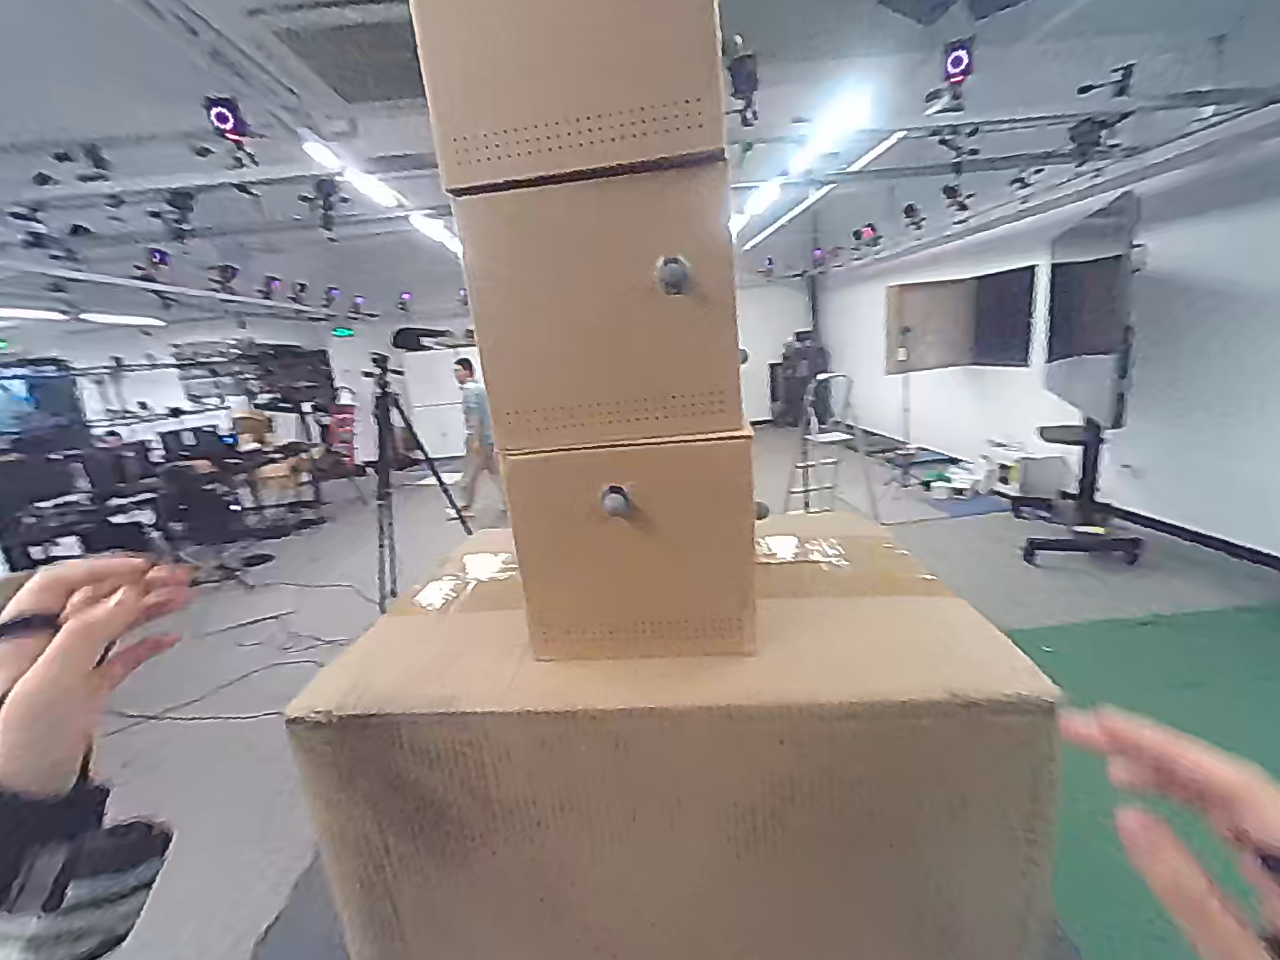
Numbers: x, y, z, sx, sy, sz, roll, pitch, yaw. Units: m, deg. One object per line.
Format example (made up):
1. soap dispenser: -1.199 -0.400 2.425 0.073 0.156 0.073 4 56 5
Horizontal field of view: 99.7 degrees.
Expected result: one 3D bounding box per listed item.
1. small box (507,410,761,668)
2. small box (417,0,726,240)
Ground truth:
1. small box: 0.008 0.043 0.462 0.179 0.176 0.168 -4 16 7
2. small box: -0.030 -0.273 0.378 0.179 0.176 0.168 -3 15 8
